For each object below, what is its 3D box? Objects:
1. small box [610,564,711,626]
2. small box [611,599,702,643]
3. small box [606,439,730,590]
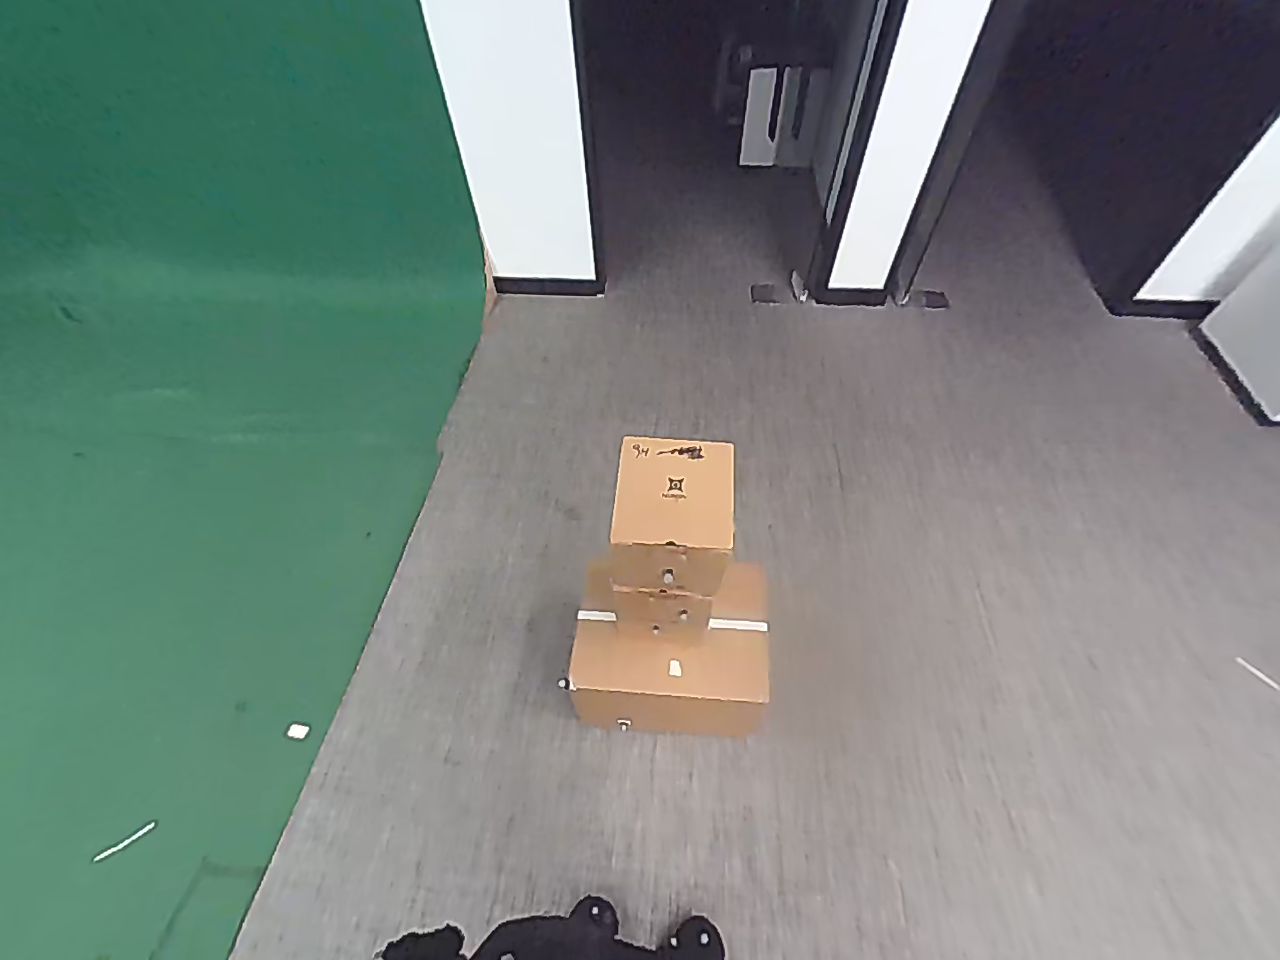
[{"bbox_3d":[0.042,0.150,0.968,0.168,0.176,0.179,4,58,3],"label":"small box"},{"bbox_3d":[0.048,0.223,1.110,0.179,0.176,0.168,9,58,8],"label":"small box"},{"bbox_3d":[0.046,0.059,0.832,0.168,0.176,0.179,4,60,3],"label":"small box"}]
